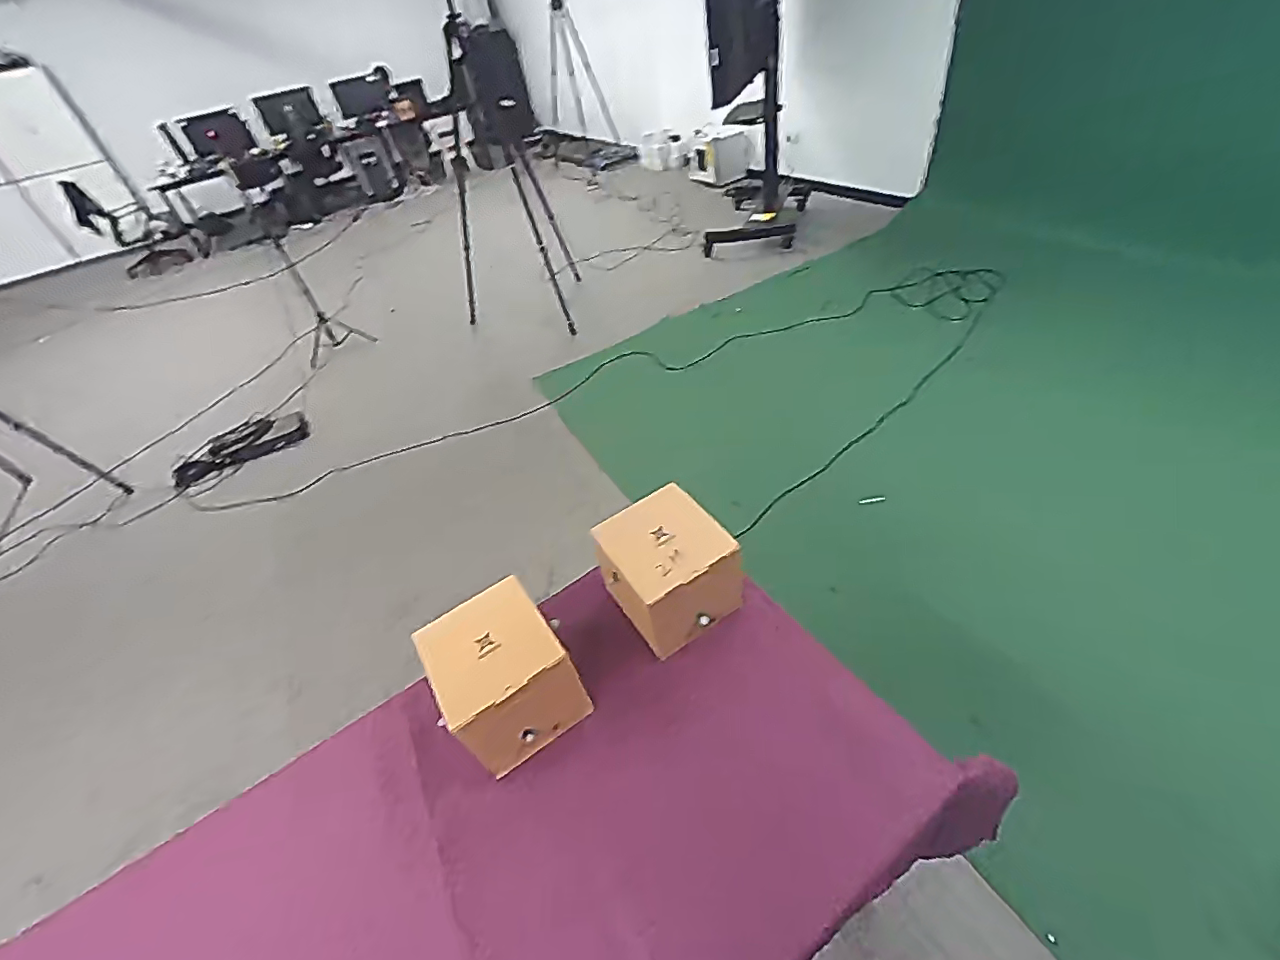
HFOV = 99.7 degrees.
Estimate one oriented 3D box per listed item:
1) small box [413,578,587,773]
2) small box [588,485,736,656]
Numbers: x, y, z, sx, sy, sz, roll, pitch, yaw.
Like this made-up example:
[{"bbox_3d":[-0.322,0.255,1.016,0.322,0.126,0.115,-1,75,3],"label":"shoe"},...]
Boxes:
[{"bbox_3d":[-0.201,0.286,0.796,0.168,0.176,0.179,-31,46,-19],"label":"small box"},{"bbox_3d":[0.039,0.147,0.879,0.168,0.176,0.179,-30,48,-16],"label":"small box"}]
